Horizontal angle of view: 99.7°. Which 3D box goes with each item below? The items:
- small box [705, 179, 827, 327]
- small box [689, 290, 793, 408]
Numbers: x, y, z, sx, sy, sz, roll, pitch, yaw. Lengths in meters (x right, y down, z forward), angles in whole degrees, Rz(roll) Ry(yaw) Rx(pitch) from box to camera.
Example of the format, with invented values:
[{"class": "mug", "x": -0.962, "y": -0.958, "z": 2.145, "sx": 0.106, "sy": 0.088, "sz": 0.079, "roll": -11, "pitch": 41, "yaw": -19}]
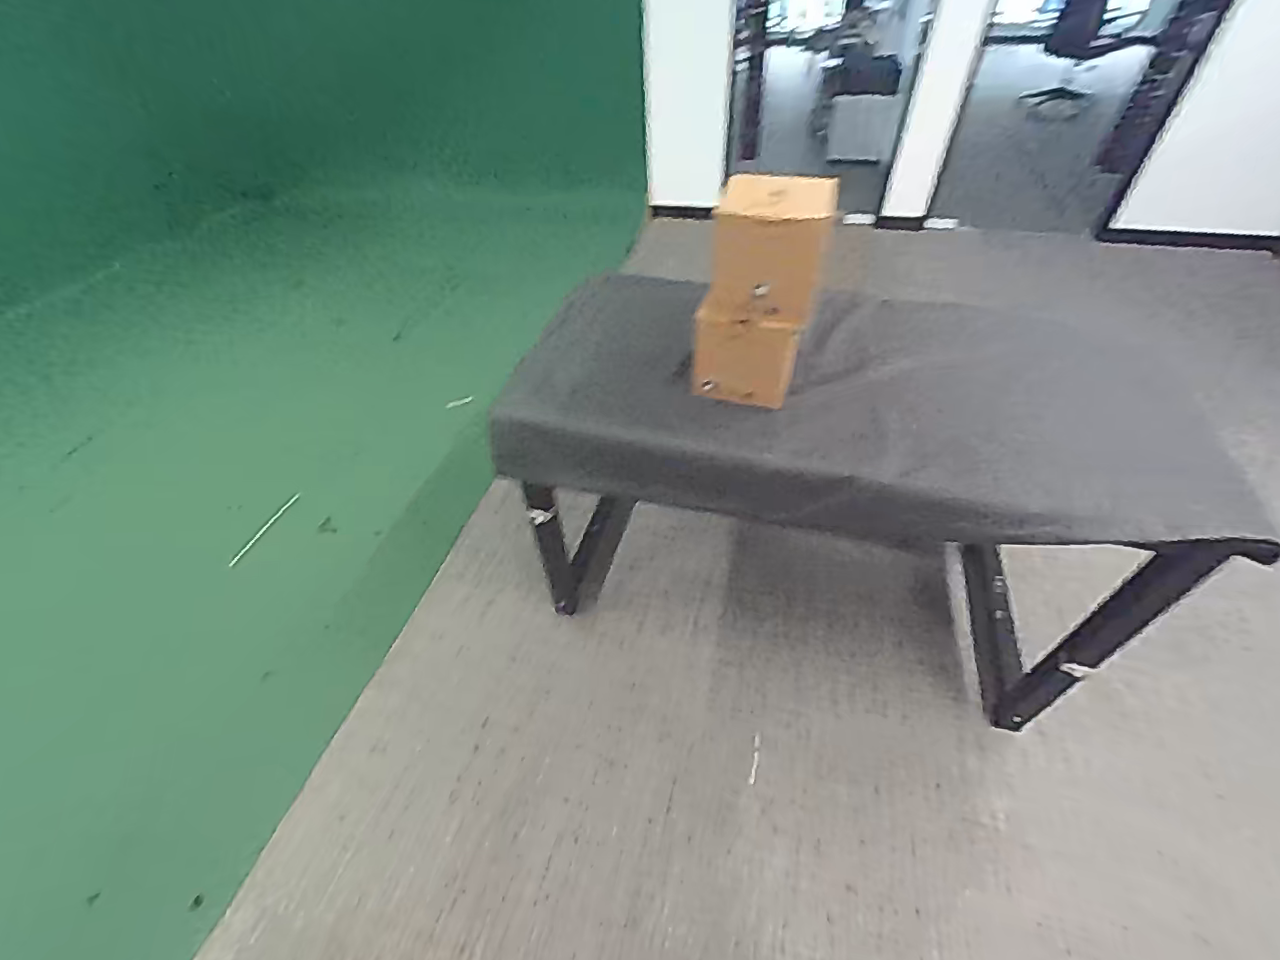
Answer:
[{"class": "small box", "x": 0.203, "y": -0.376, "z": 0.892, "sx": 0.168, "sy": 0.176, "sz": 0.179, "roll": 10, "pitch": 46, "yaw": 13}, {"class": "small box", "x": 0.192, "y": -0.257, "z": 1.007, "sx": 0.168, "sy": 0.176, "sz": 0.179, "roll": 13, "pitch": 46, "yaw": 14}]
